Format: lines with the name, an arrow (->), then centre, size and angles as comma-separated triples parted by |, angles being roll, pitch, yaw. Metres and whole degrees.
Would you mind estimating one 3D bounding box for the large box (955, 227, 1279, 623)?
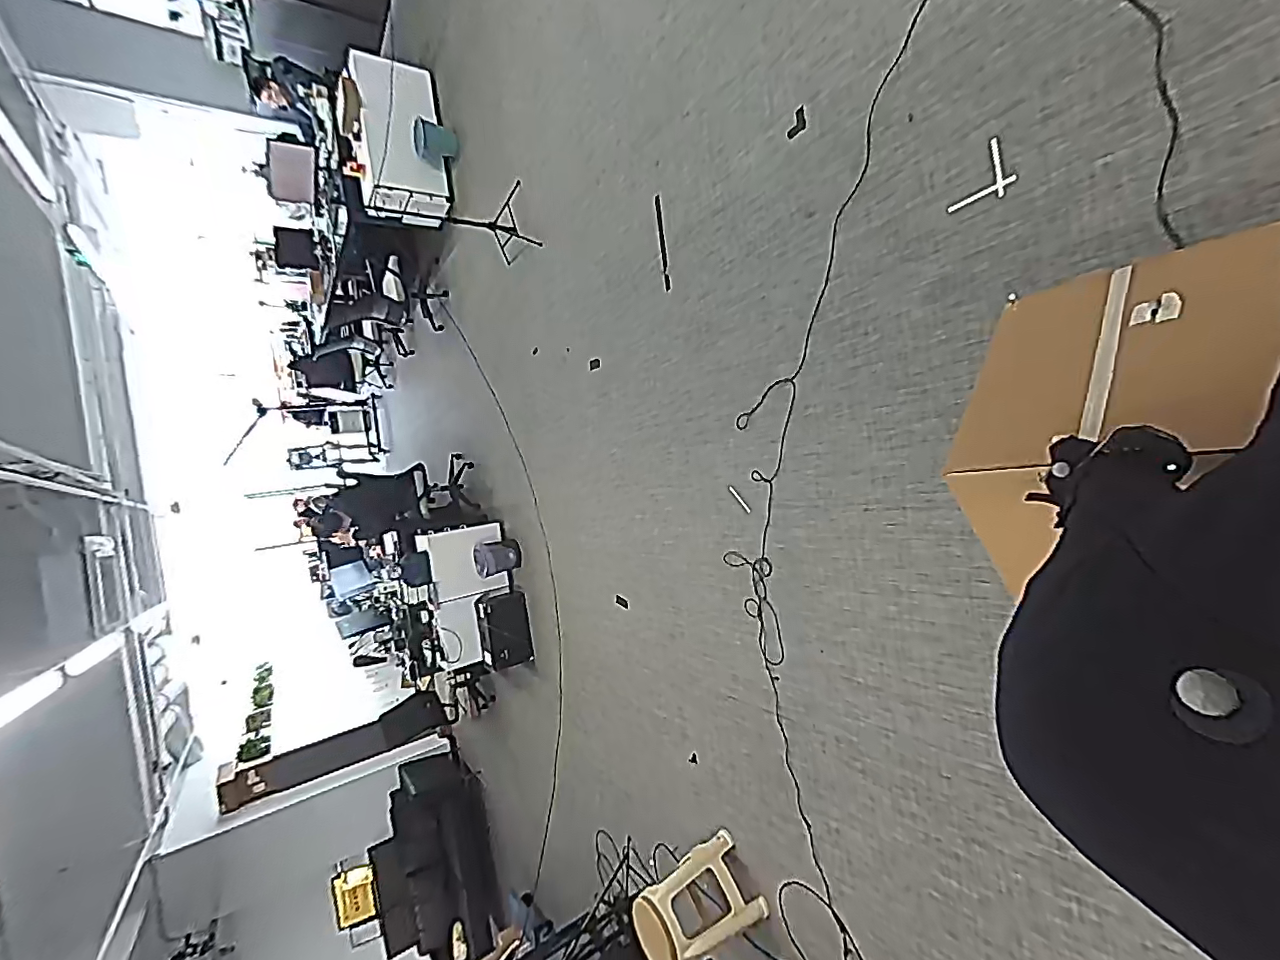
large box -> 0.710, -0.061, 0.763 | 0.320, 0.408, 0.320 | 49, 151, -24
